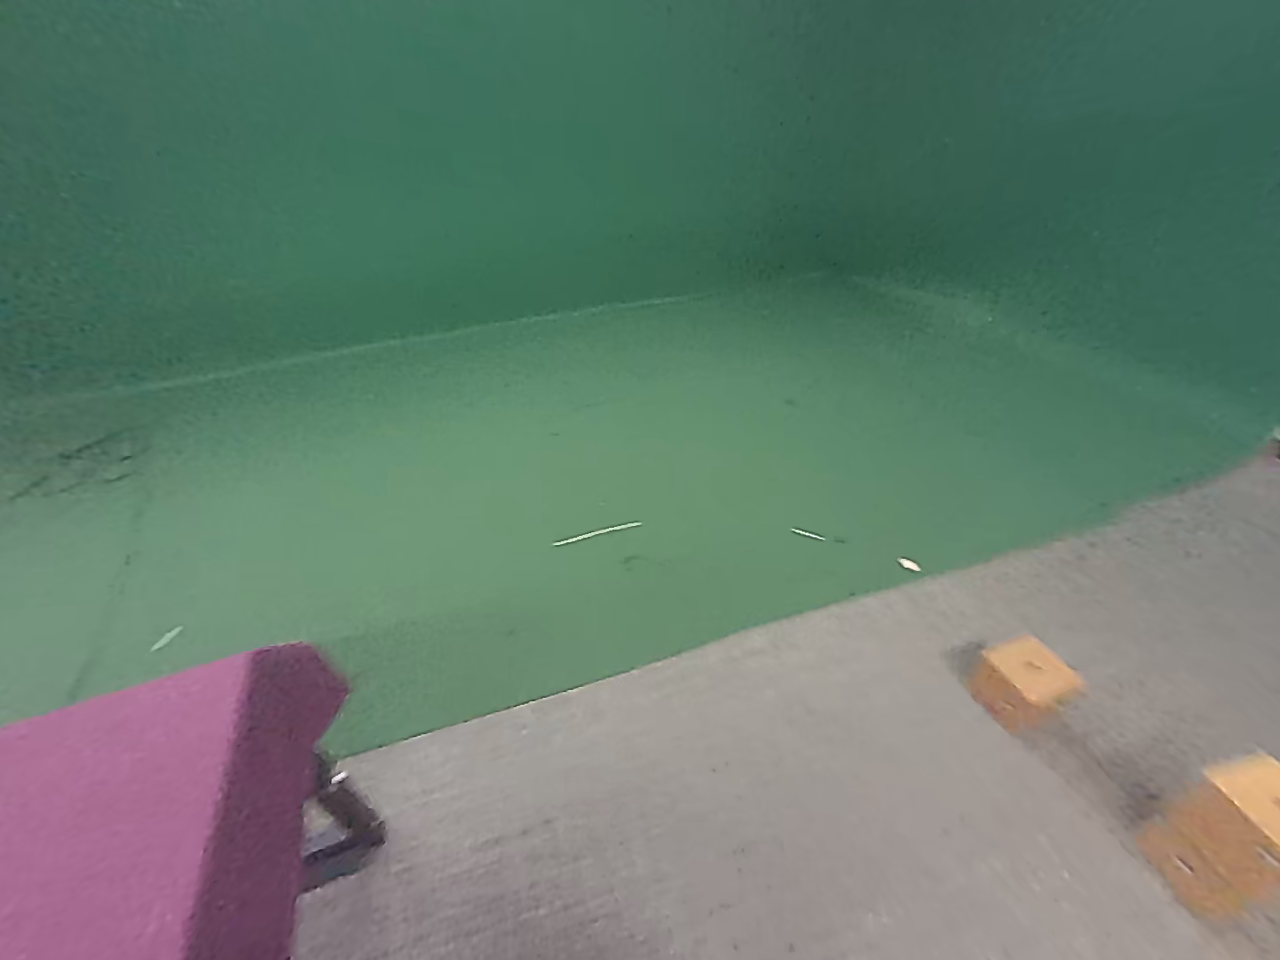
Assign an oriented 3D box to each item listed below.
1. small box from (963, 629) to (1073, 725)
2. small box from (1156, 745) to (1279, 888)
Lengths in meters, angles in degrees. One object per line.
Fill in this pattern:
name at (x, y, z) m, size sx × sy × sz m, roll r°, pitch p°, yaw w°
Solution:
small box at (1.050, 0.558, 1.523) m, size 0.179 × 0.176 × 0.168 m, roll -15°, pitch 40°, yaw -13°
small box at (1.217, 0.675, 1.088) m, size 0.168 × 0.176 × 0.179 m, roll -11°, pitch 38°, yaw -9°
